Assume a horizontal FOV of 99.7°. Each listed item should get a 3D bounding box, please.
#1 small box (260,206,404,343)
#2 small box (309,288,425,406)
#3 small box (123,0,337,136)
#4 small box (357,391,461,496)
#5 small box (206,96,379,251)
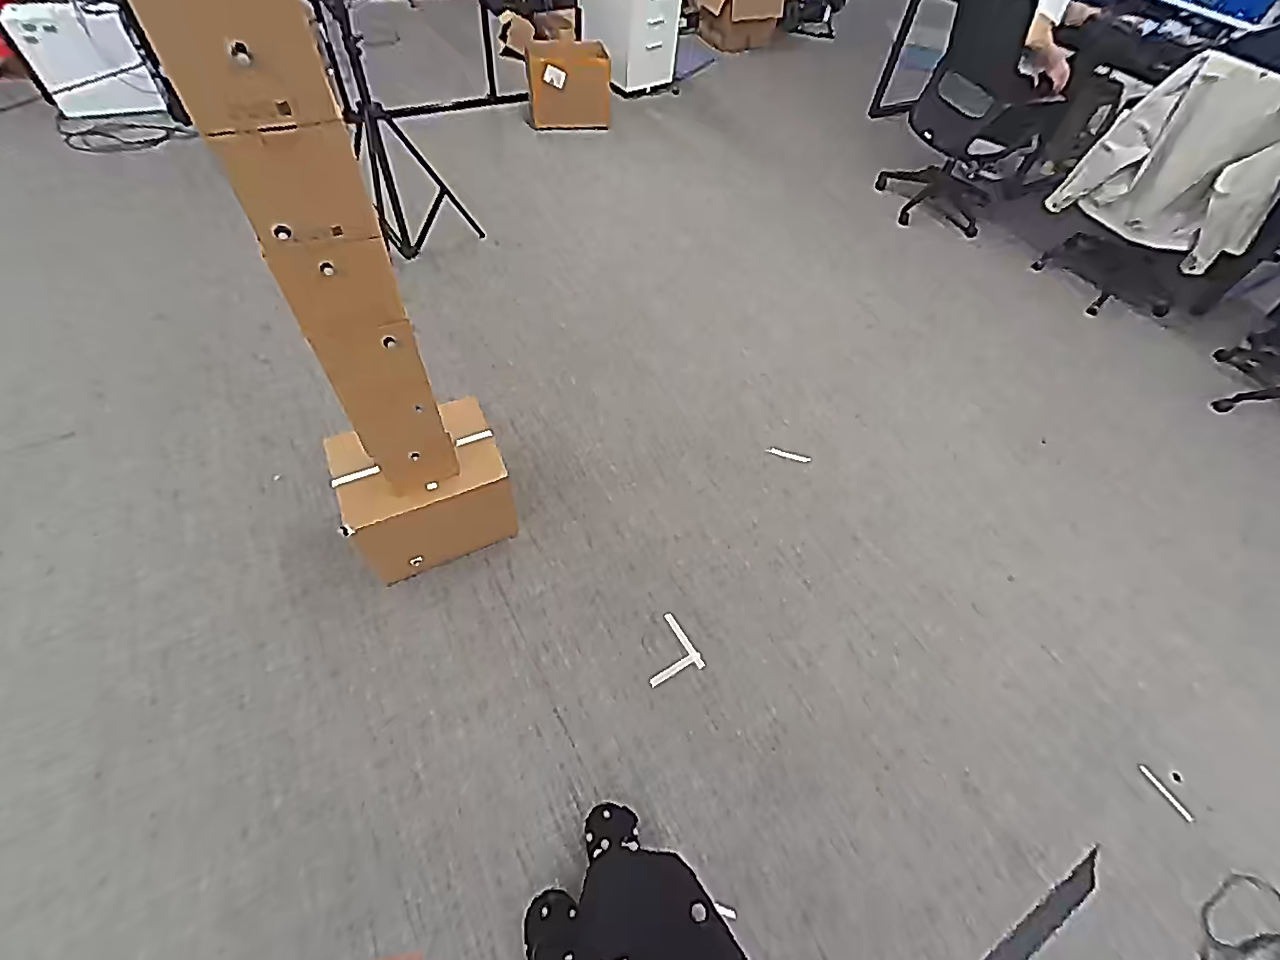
[{"bbox_3d":[-0.528,-0.367,0.941,0.179,0.176,0.168,-20,60,-18],"label":"small box"},{"bbox_3d":[-0.541,-0.274,1.072,0.179,0.176,0.168,-20,60,-19],"label":"small box"},{"bbox_3d":[-0.503,-0.552,0.670,0.168,0.176,0.179,-21,61,-19],"label":"small box"},{"bbox_3d":[-0.566,-0.086,1.340,0.179,0.176,0.168,-23,62,-21],"label":"small box"},{"bbox_3d":[-0.512,-0.463,0.808,0.168,0.176,0.179,-20,59,-18],"label":"small box"}]
